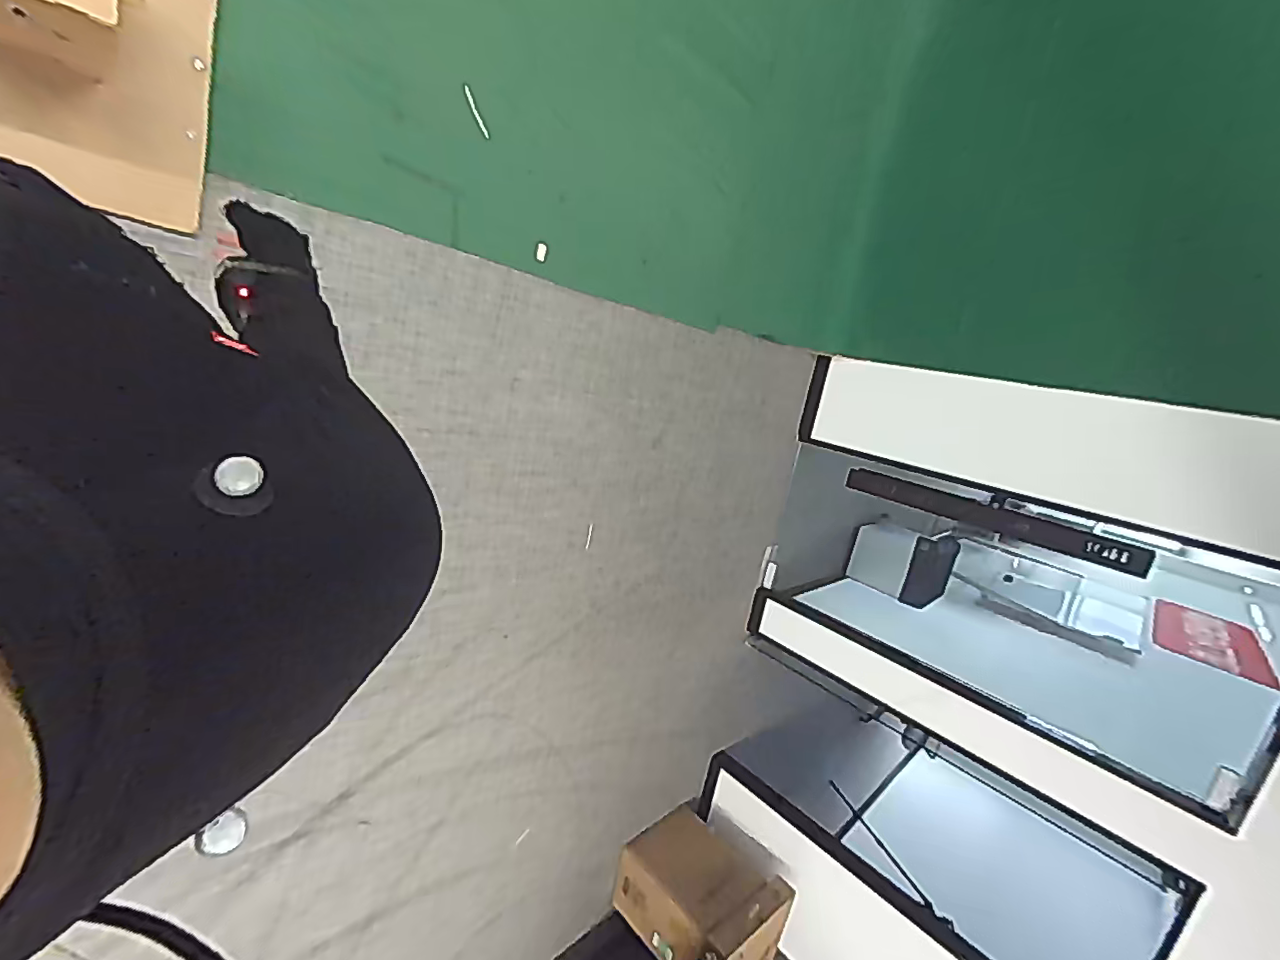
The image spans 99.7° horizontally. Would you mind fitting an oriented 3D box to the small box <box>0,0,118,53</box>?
[{"bbox_3d":[-0.802,-0.712,0.707,0.168,0.176,0.179,-2,108,-46],"label":"small box"}]
